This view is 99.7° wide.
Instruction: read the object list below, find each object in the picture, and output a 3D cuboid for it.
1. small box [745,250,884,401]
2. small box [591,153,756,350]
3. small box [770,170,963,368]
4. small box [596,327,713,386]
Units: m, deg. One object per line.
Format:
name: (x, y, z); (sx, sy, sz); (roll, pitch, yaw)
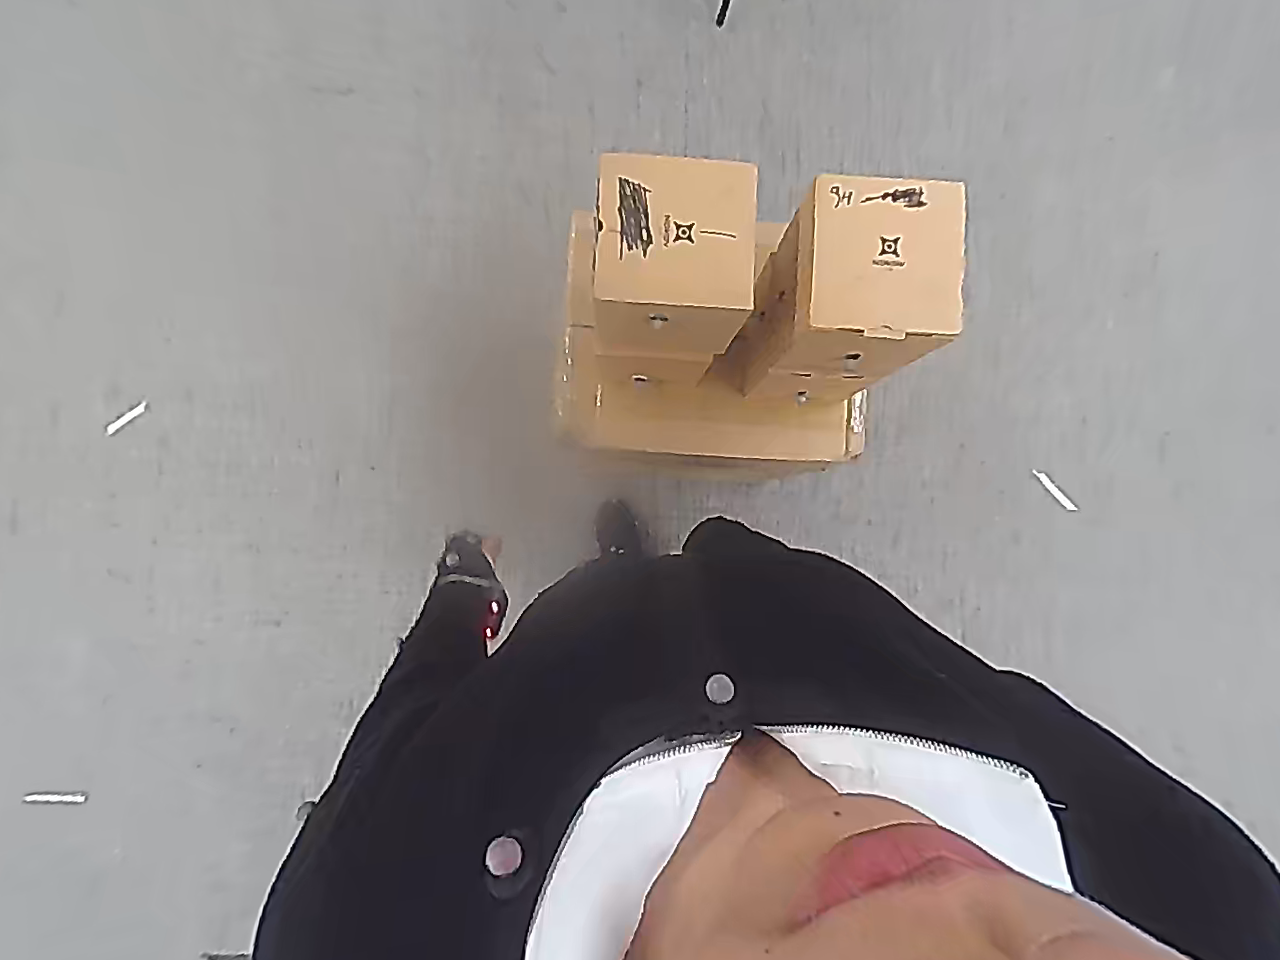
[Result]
small box: (0.259, -0.228, 0.831); (0.168, 0.176, 0.179); (2, 87, 0)
small box: (0.035, -0.266, 0.665); (0.179, 0.176, 0.168); (2, 87, -3)
small box: (0.264, -0.243, 0.666); (0.168, 0.176, 0.179); (4, 87, -2)
small box: (0.020, -0.251, 0.828); (0.168, 0.176, 0.179); (2, 88, -1)
